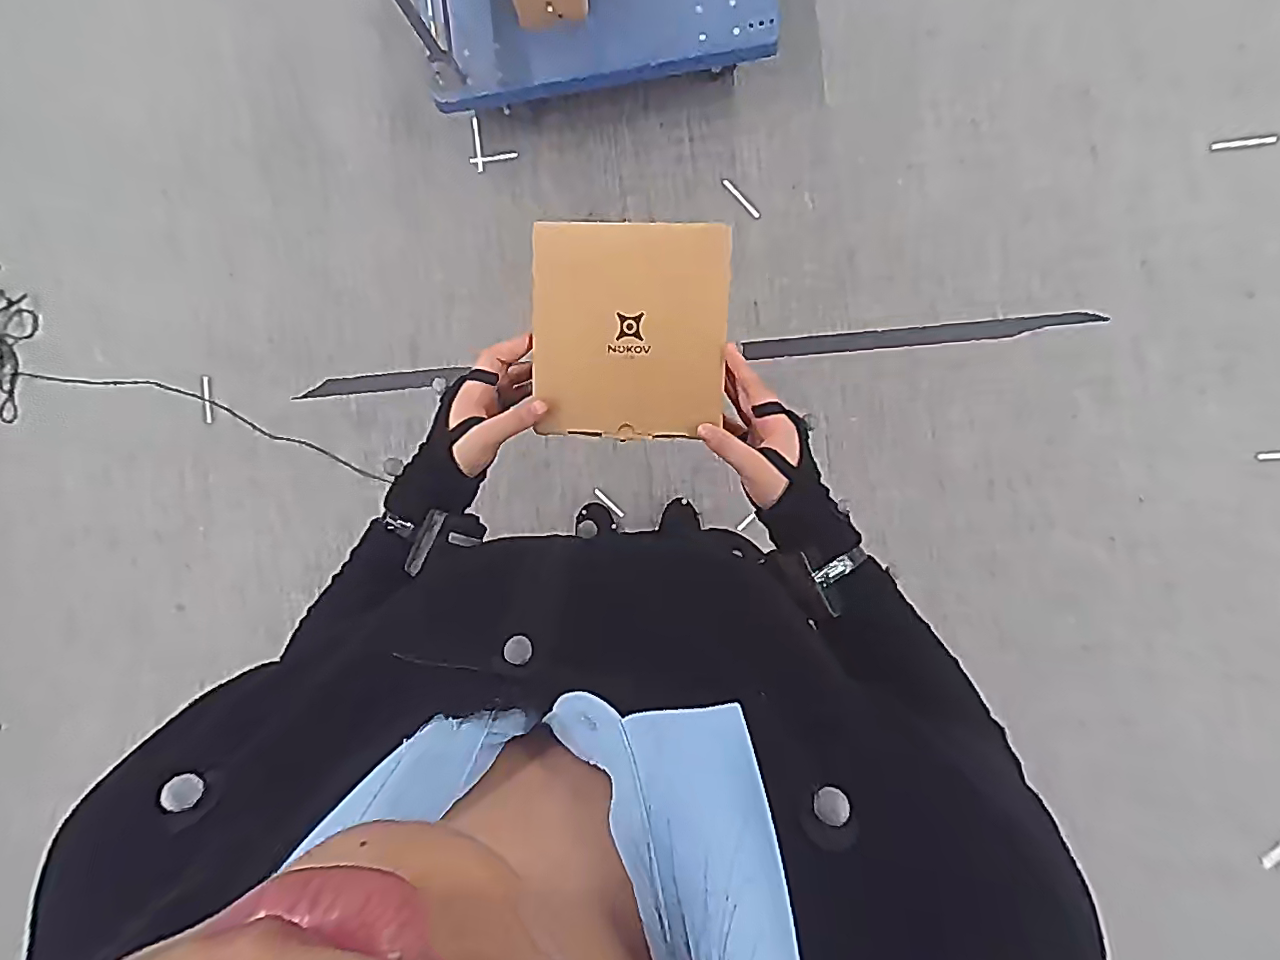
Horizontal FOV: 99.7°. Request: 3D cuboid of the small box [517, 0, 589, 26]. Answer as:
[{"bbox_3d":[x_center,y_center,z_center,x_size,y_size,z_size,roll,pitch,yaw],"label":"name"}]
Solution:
[{"bbox_3d":[-0.212,-1.193,1.231,0.168,0.176,0.179,-3,90,5],"label":"small box"}]
